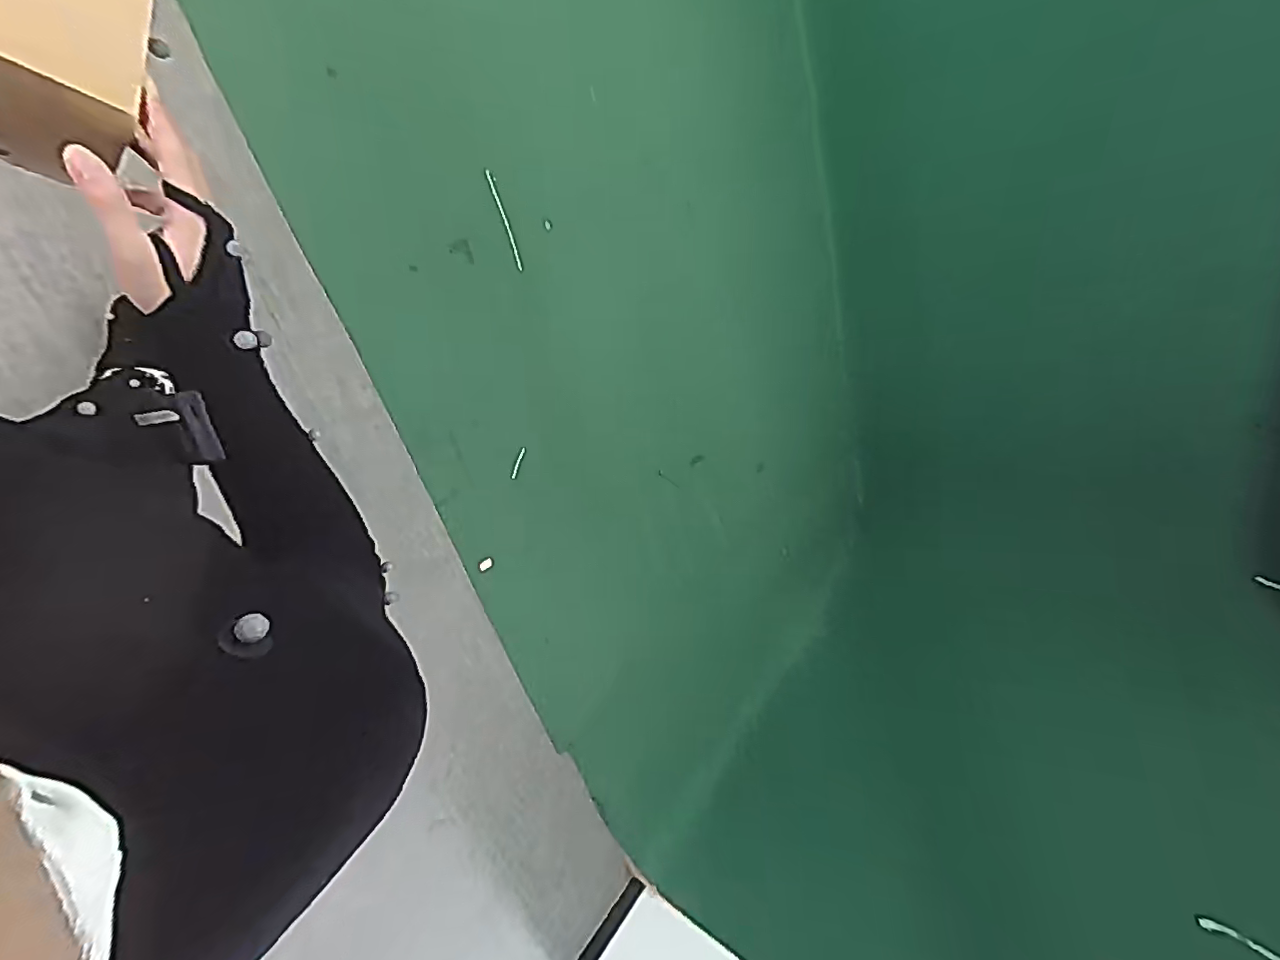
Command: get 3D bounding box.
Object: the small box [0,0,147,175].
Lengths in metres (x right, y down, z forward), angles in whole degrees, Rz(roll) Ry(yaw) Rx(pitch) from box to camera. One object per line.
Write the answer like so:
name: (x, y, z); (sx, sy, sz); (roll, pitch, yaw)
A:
small box: (-0.430, -0.334, 0.340); (0.168, 0.176, 0.179); (8, 84, -51)
